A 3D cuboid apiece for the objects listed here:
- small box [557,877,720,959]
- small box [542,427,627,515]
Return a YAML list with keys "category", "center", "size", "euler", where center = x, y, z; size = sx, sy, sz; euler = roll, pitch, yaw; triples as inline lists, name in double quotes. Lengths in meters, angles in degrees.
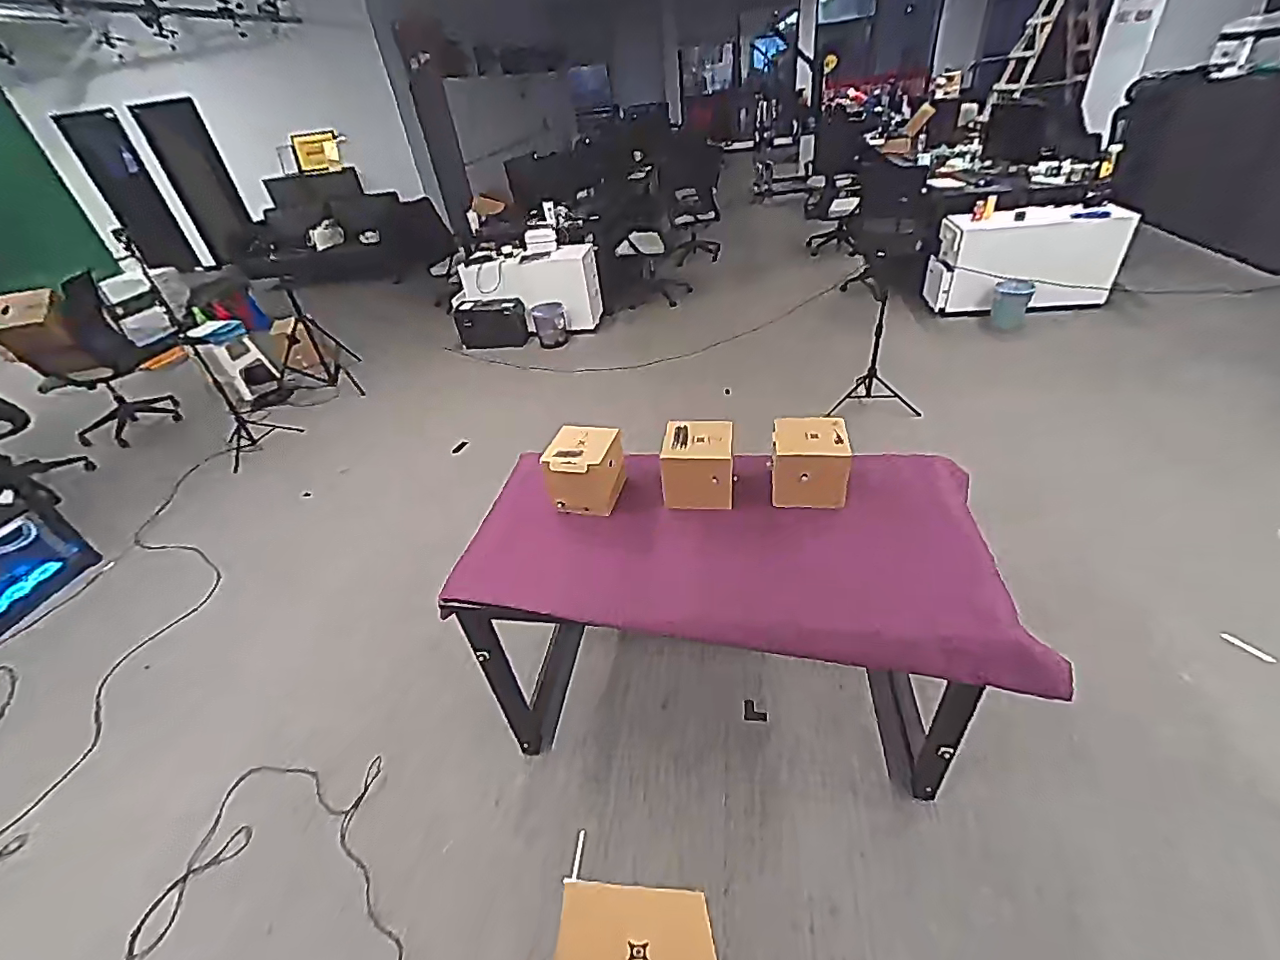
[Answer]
- category: "small box"
  center: [-0.010, 0.557, 0.551]
  size: [0.168, 0.176, 0.179]
  euler: [7, 3, -3]
- category: "small box"
  center: [-0.140, -0.025, 1.456]
  size: [0.168, 0.176, 0.179]
  euler: [5, 39, 16]
